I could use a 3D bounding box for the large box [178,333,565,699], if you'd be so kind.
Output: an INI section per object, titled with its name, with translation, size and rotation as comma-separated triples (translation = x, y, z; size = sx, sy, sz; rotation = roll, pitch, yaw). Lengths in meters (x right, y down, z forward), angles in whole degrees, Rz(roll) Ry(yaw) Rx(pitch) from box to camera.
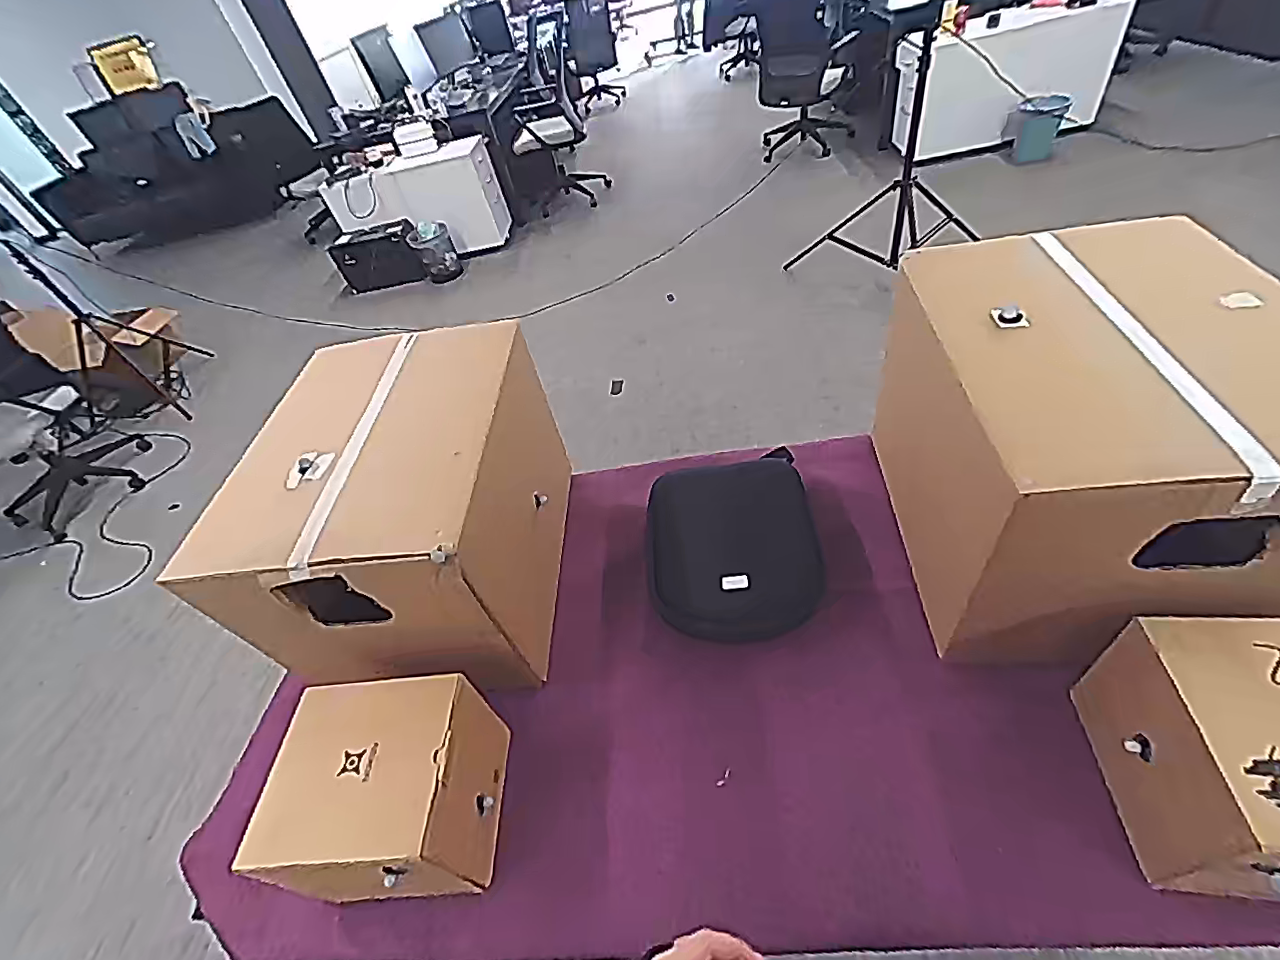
[large box]
translation = -0.301, 0.050, 0.768
size = 0.320, 0.320, 0.408
rotation = -7, 48, 7
